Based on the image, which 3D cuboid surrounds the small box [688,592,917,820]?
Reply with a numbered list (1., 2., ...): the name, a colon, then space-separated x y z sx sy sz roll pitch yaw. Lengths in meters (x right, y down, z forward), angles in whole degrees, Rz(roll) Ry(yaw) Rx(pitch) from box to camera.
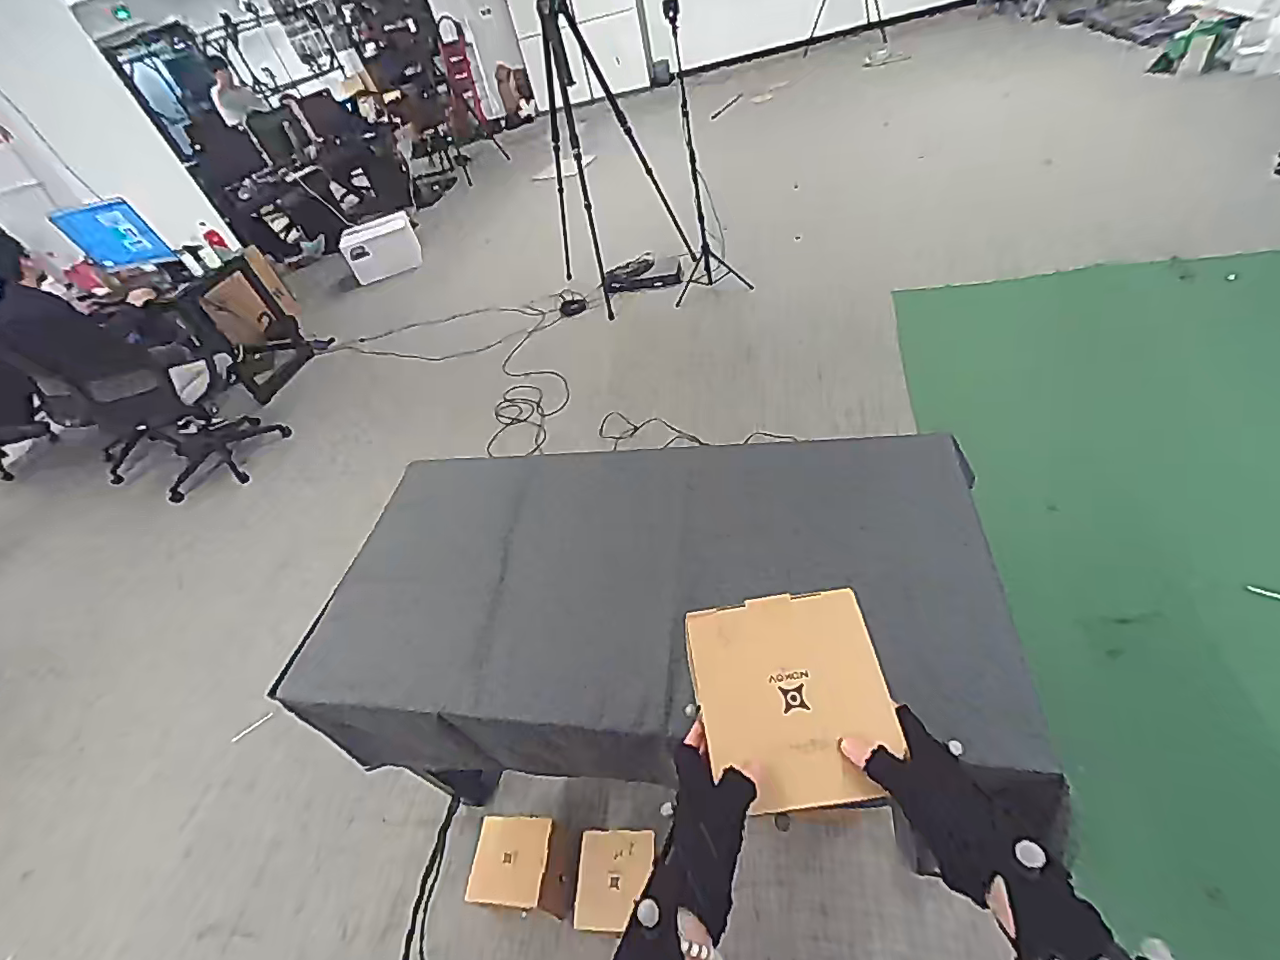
1. small box: 0.139 0.231 0.543 0.168 0.176 0.179 -8 59 2
